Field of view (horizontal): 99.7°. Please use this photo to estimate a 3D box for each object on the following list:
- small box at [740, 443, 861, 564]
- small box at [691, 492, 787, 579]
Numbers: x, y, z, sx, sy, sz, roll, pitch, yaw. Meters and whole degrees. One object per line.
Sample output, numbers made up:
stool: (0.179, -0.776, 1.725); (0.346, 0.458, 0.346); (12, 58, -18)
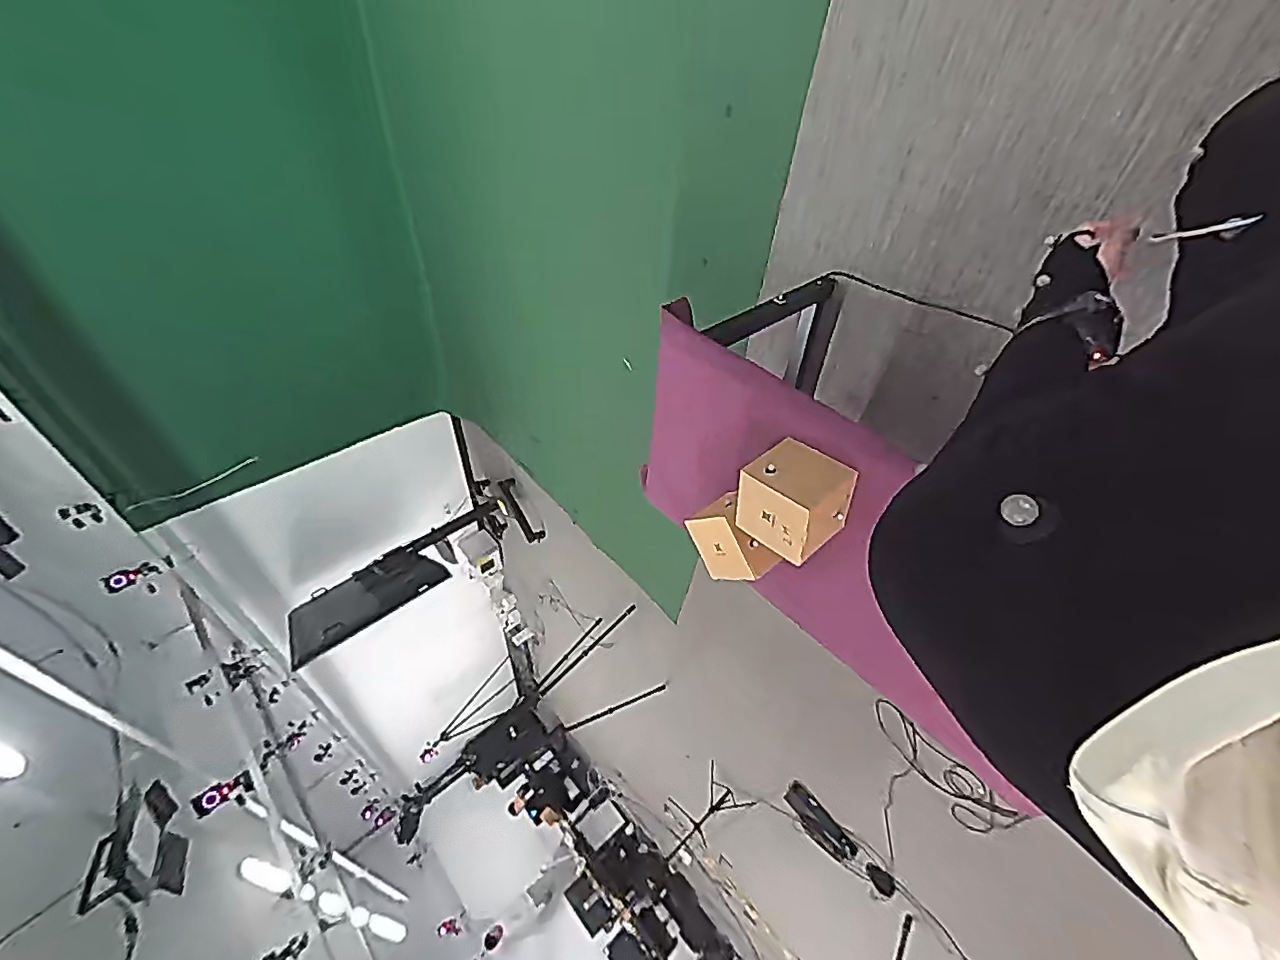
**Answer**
small box: (0.341, 0.041, 1.166); (0.179, 0.176, 0.168); (35, 144, 36)
small box: (0.268, 0.133, 1.369); (0.168, 0.176, 0.179); (-16, 104, 59)
